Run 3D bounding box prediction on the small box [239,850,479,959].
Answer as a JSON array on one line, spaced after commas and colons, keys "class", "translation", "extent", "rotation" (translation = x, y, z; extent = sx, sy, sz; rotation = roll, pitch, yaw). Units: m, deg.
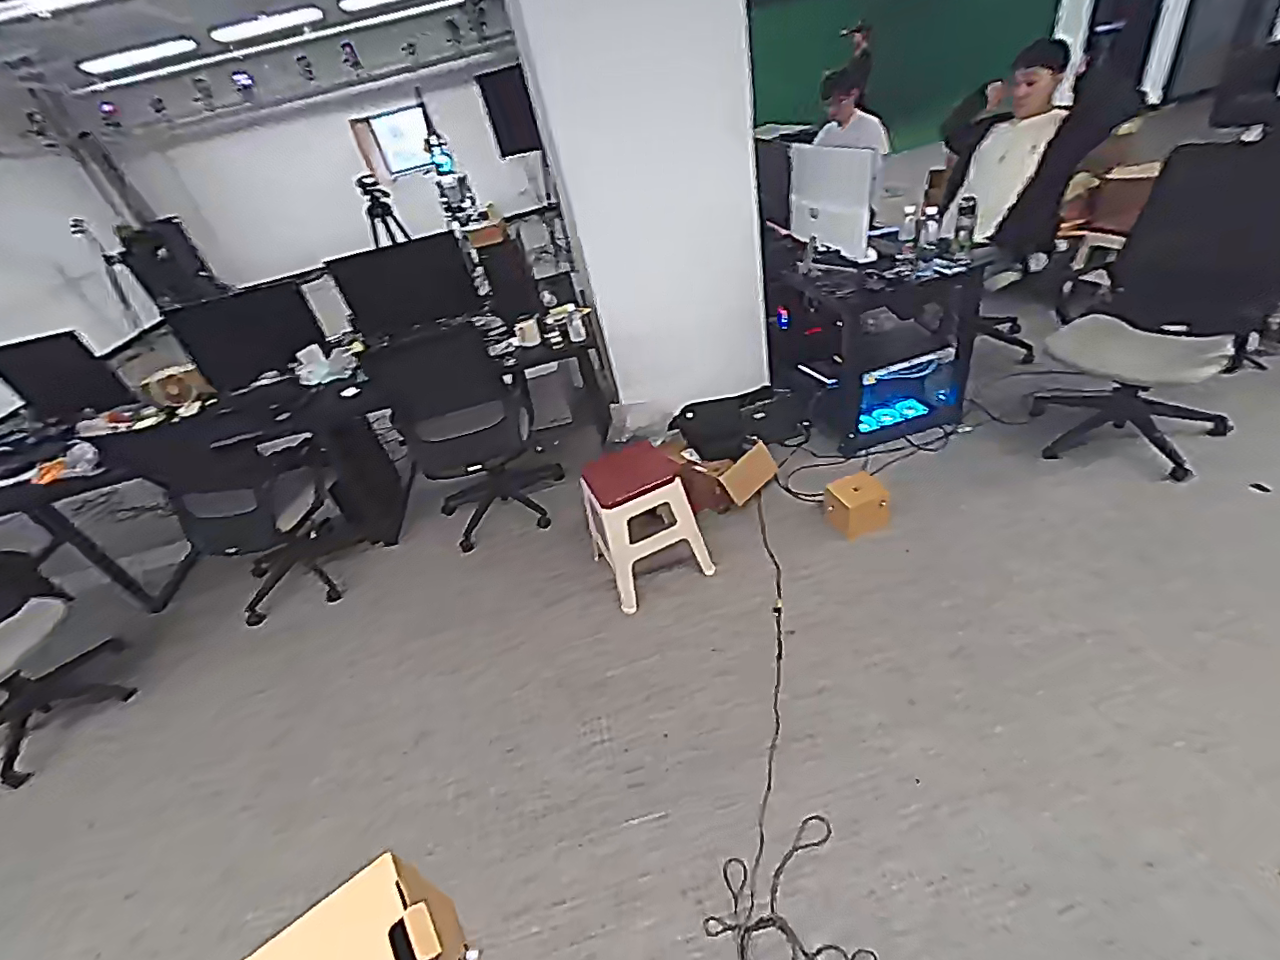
[{"class": "small box", "translation": [-0.243, 0.485, 0.474], "extent": [0.179, 0.176, 0.168], "rotation": [-30, 44, -23]}]
